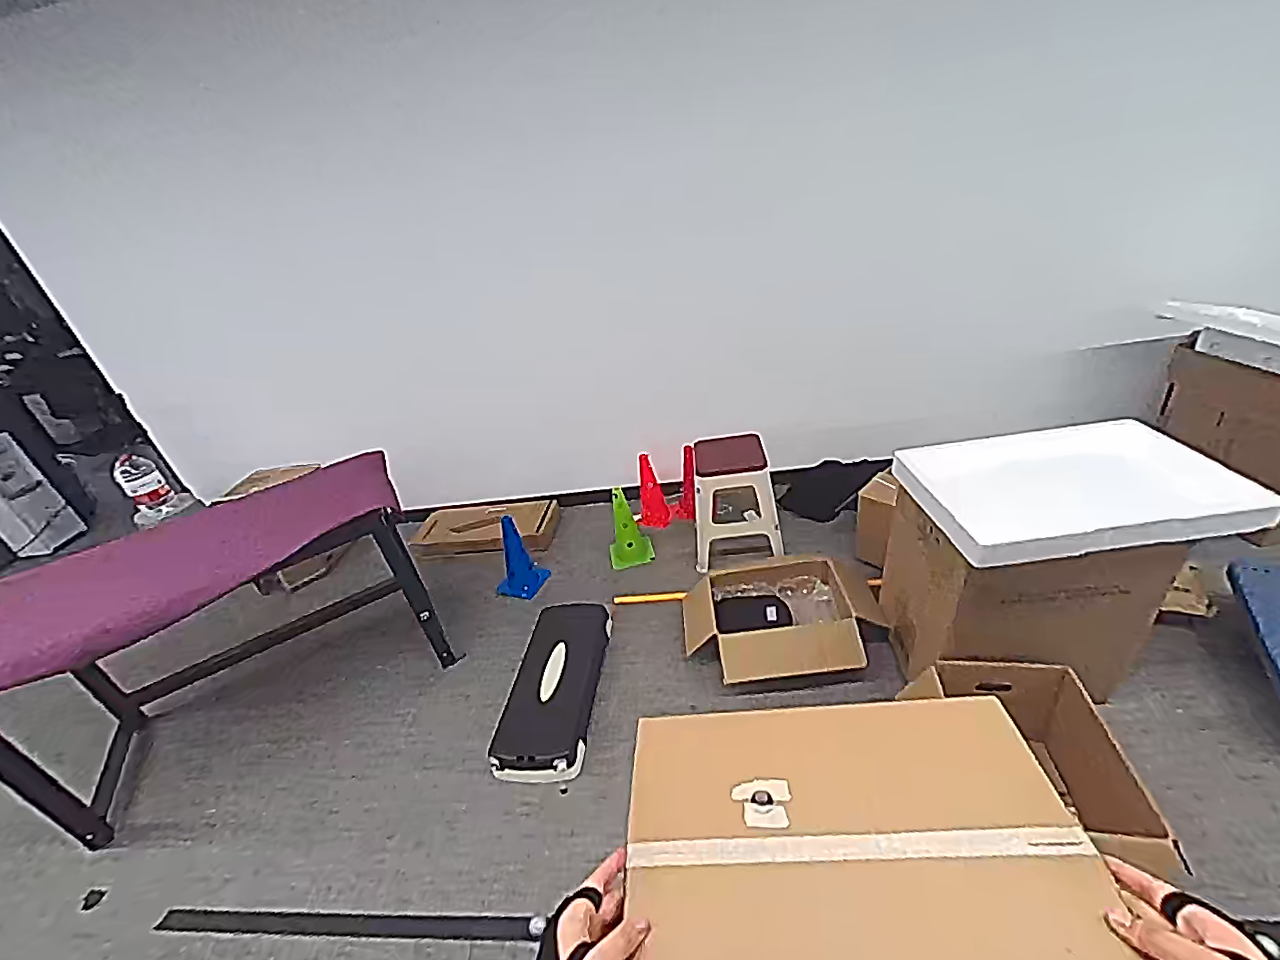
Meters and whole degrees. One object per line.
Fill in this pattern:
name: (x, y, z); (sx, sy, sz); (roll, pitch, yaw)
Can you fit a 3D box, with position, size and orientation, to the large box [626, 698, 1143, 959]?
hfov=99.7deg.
large box: (0.217, 0.477, 0.571); (0.408, 0.320, 0.320); (-9, 26, 8)
